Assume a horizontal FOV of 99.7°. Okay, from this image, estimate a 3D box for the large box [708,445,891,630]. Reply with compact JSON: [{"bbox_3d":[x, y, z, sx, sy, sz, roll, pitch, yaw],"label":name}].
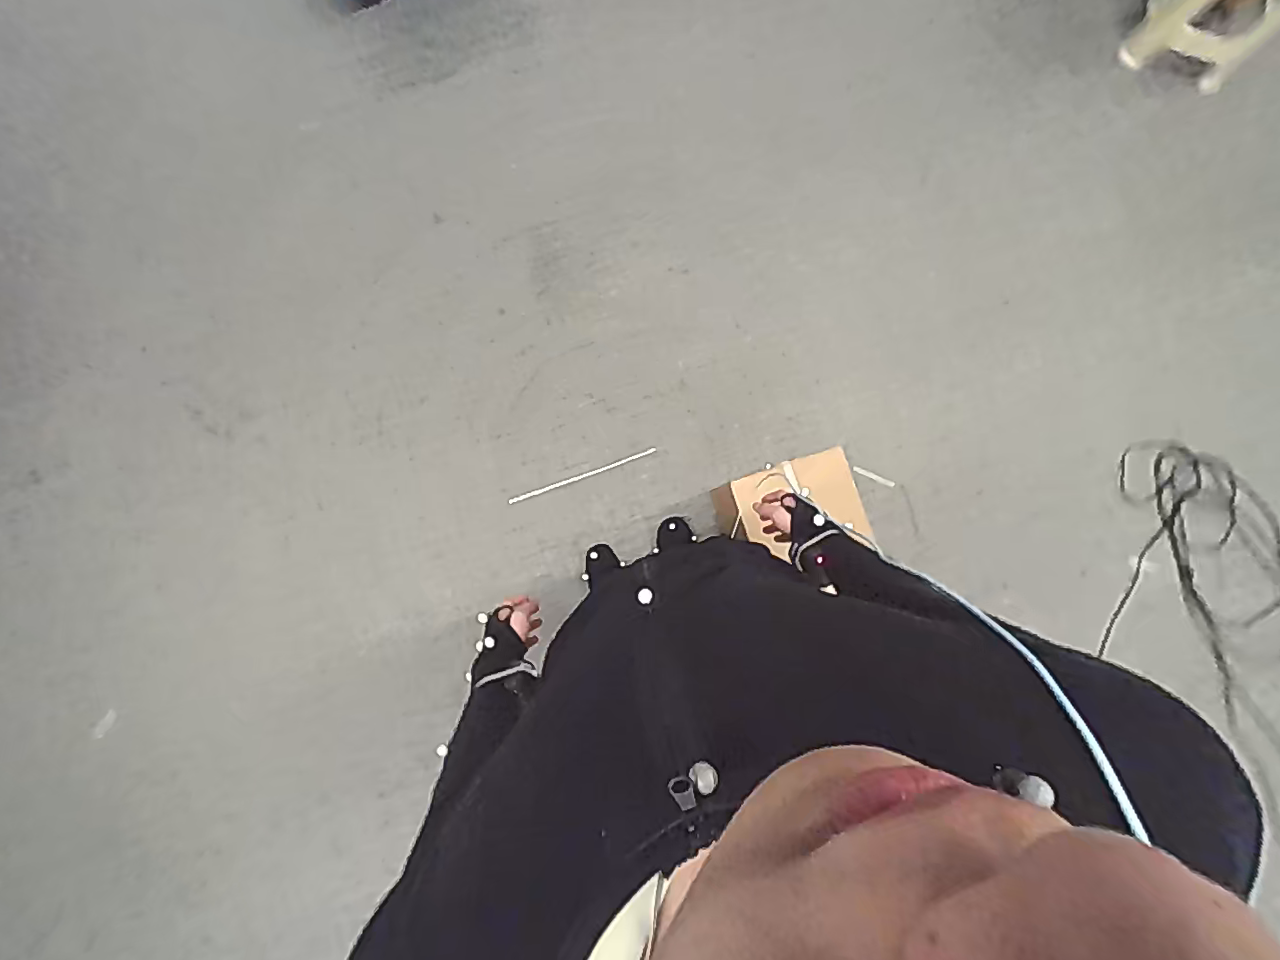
[{"bbox_3d":[0.423,0.156,1.524,0.320,0.320,0.408,-19,86,-4],"label":"large box"}]
